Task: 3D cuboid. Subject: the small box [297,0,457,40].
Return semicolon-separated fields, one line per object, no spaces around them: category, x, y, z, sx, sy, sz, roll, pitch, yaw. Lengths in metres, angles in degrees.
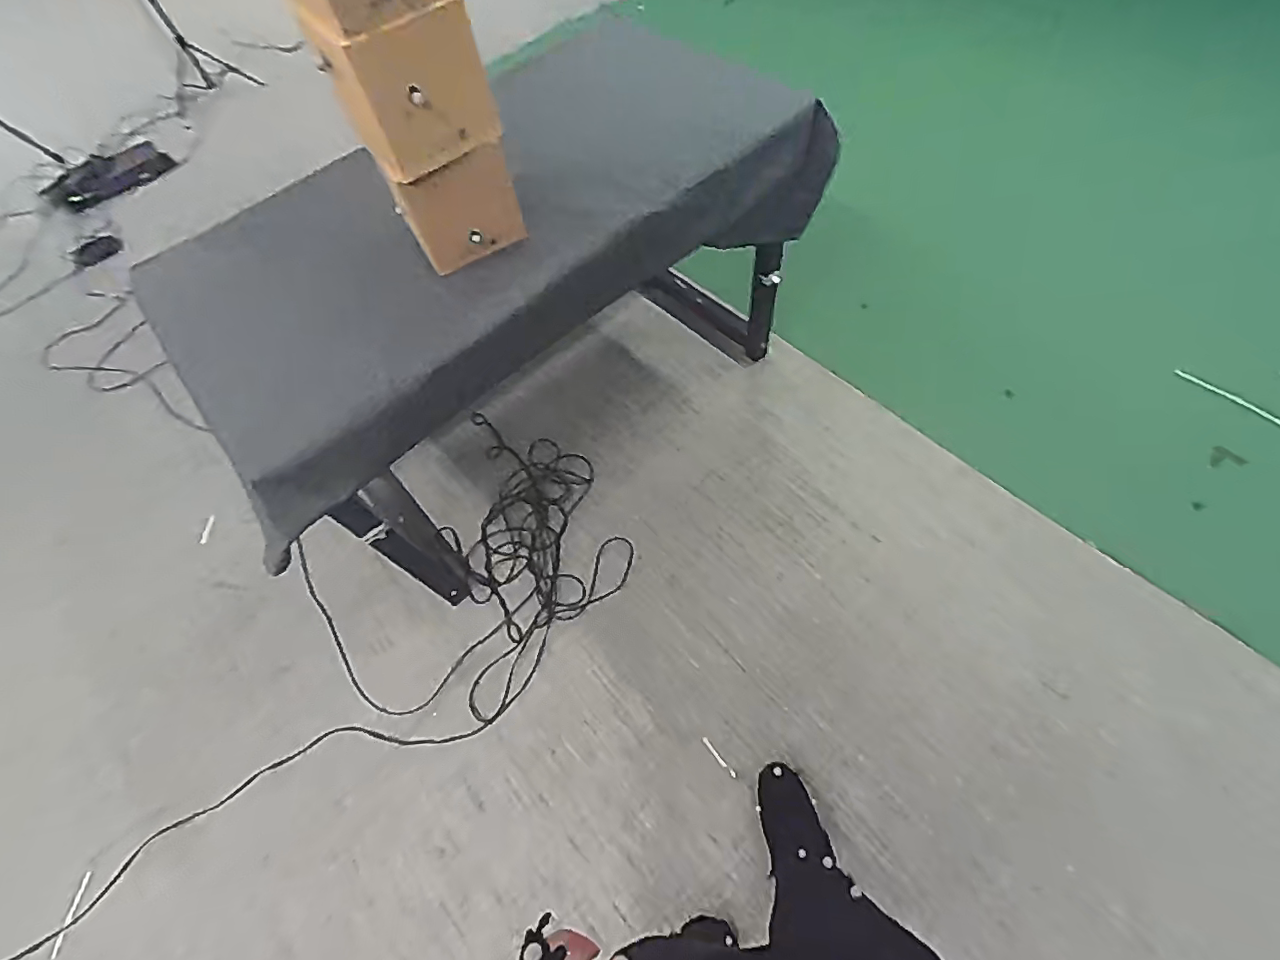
small box;-0.329;-0.637;0.605;0.168;0.176;0.179;-39;65;-14

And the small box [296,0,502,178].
small box;-0.318;-0.551;0.743;0.168;0.176;0.179;-37;63;-14
